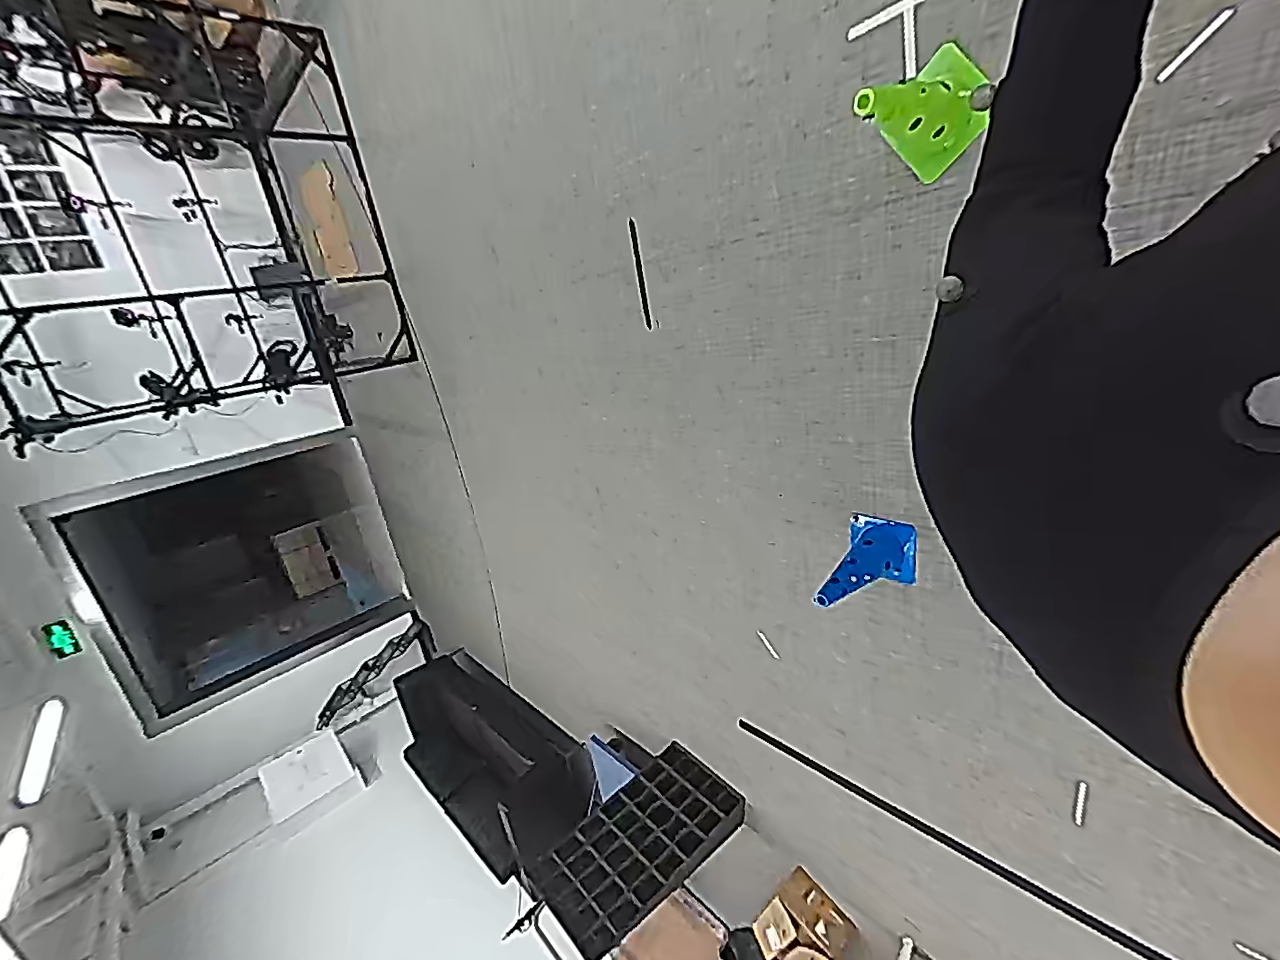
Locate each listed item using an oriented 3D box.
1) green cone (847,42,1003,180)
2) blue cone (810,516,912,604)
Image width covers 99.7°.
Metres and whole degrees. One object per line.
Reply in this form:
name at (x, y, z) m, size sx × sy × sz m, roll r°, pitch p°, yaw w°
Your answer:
green cone at (0.536, -0.760, 1.106) m, size 0.200 × 0.368 × 0.202 m, roll 58°, pitch 144°, yaw 12°
blue cone at (0.625, 0.264, 1.579) m, size 0.192 × 0.380 × 0.193 m, roll 16°, pitch 121°, yaw 47°
